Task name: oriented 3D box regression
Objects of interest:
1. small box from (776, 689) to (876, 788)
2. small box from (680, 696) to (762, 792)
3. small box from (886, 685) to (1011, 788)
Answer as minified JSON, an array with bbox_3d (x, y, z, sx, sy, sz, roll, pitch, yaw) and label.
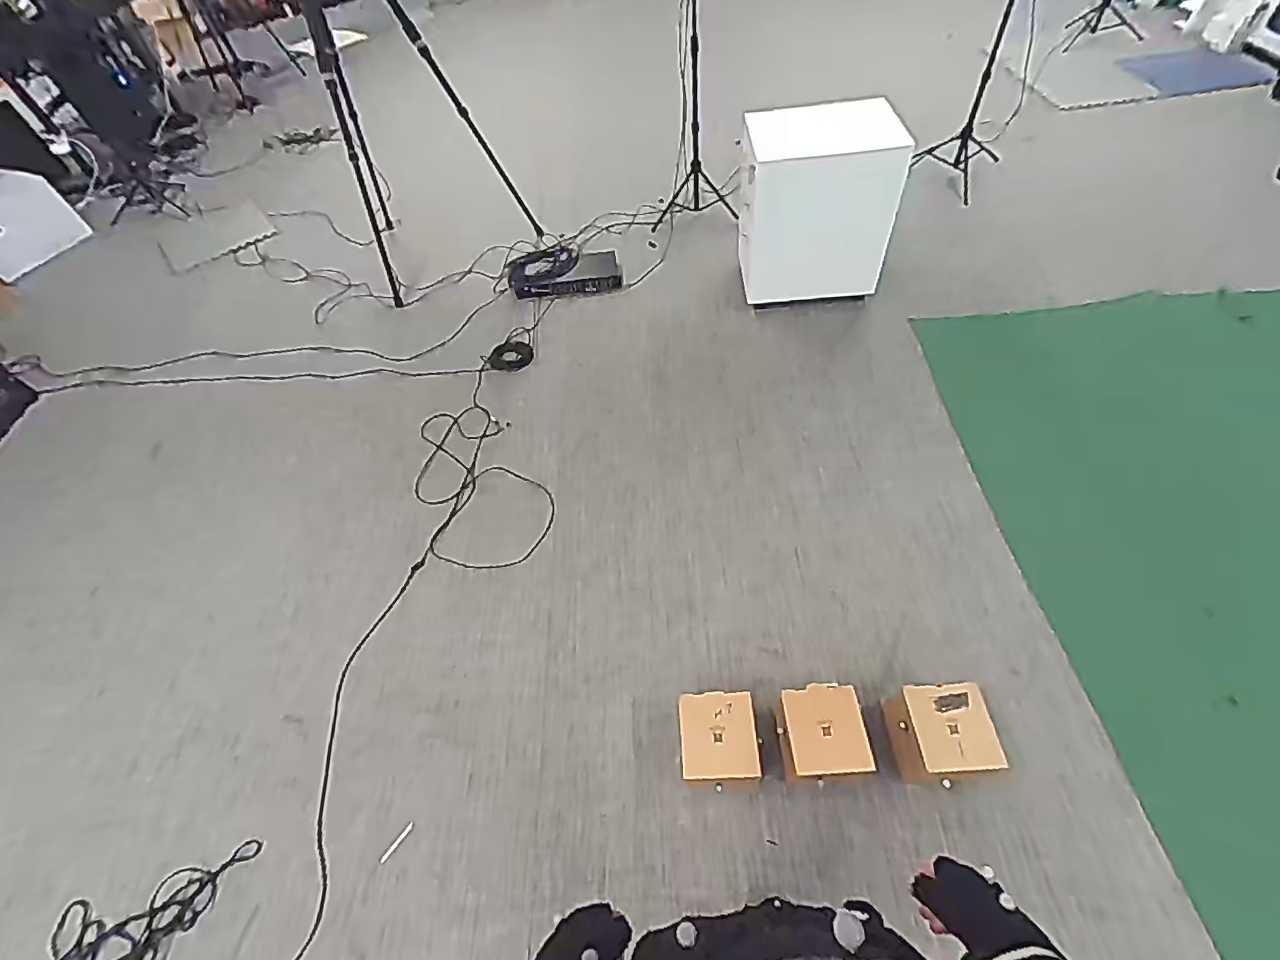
[{"bbox_3d":[0.413,0.594,1.230,0.168,0.176,0.179,-5,53,2],"label":"small box"},{"bbox_3d":[0.182,0.611,1.242,0.168,0.176,0.179,-4,53,3],"label":"small box"},{"bbox_3d":[0.675,0.577,1.212,0.168,0.176,0.179,-5,54,3],"label":"small box"}]
